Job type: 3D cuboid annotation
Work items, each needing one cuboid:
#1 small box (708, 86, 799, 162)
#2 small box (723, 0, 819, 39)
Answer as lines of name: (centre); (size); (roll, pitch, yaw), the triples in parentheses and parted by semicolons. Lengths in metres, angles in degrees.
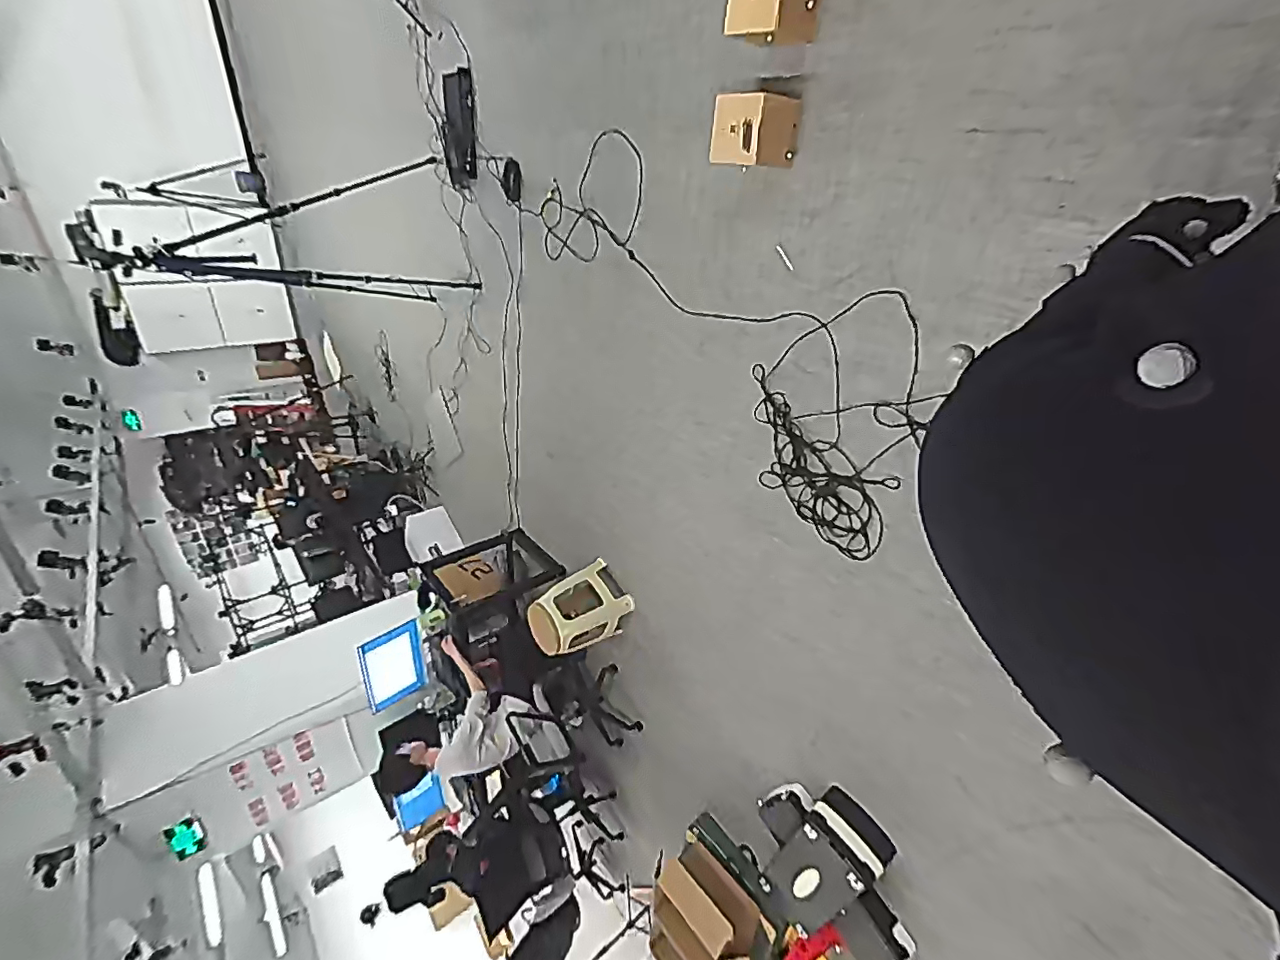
small box: (0.321, -1.003, 1.528); (0.179, 0.176, 0.168); (34, 131, 40)
small box: (0.343, -1.254, 1.384); (0.179, 0.176, 0.168); (34, 131, 39)
